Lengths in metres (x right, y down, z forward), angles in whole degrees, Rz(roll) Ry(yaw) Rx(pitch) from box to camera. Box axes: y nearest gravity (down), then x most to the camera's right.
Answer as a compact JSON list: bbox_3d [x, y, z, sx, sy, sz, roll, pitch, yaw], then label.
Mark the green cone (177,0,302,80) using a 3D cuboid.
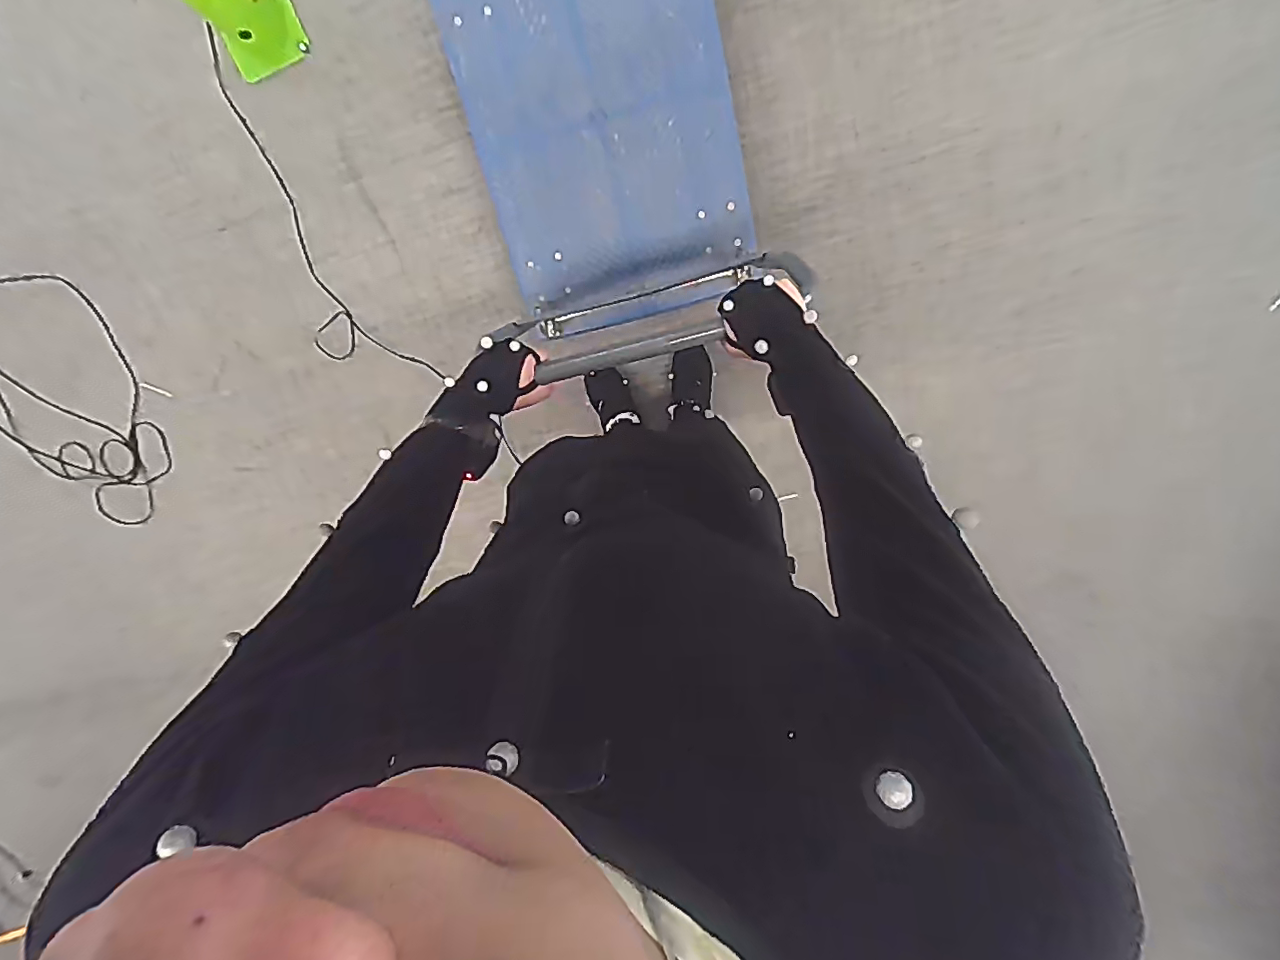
[{"bbox_3d":[-0.954,-1.055,1.145,0.202,0.368,0.200,-18,107,11],"label":"green cone"}]
